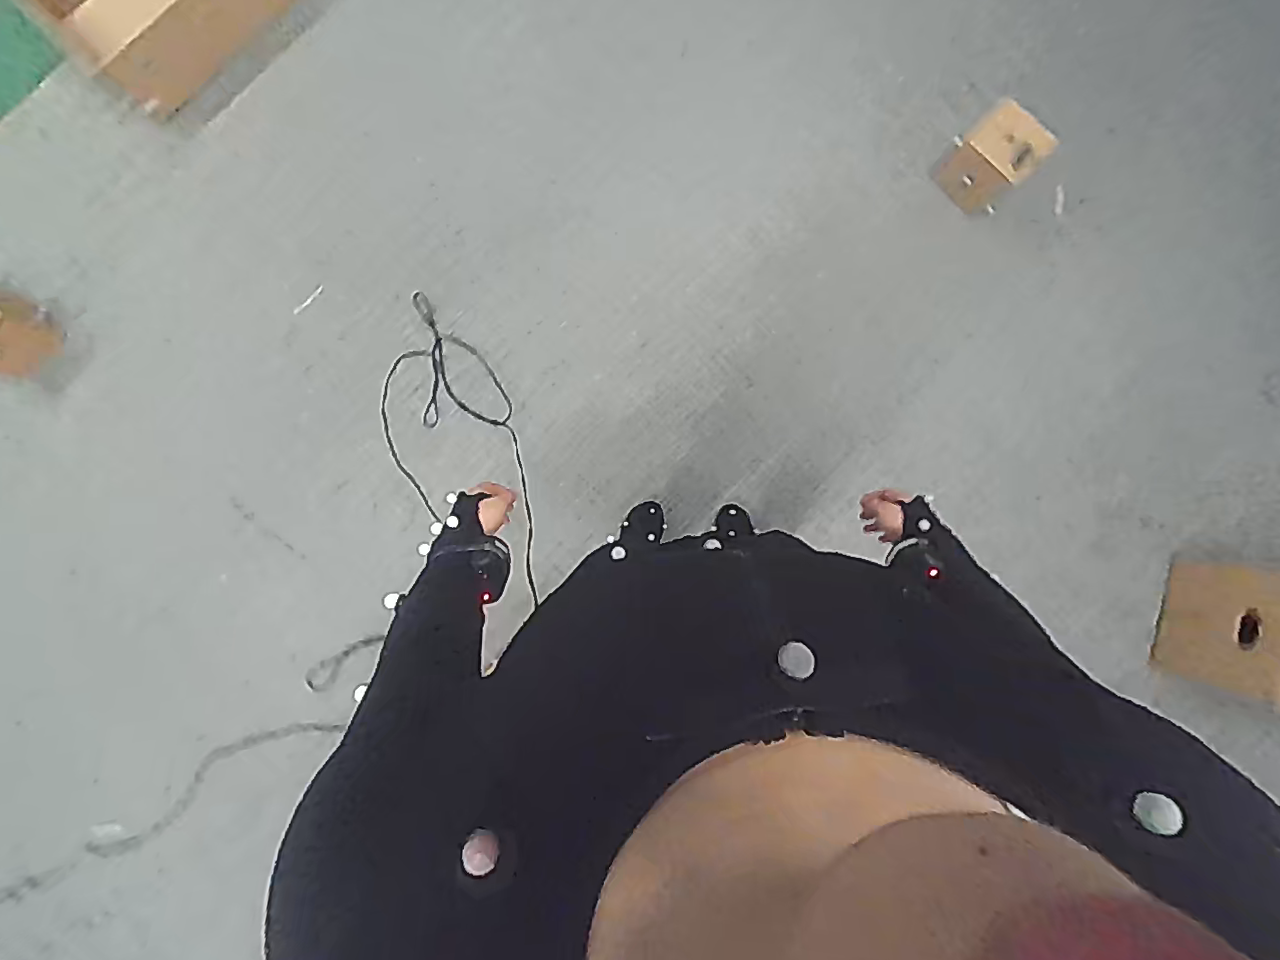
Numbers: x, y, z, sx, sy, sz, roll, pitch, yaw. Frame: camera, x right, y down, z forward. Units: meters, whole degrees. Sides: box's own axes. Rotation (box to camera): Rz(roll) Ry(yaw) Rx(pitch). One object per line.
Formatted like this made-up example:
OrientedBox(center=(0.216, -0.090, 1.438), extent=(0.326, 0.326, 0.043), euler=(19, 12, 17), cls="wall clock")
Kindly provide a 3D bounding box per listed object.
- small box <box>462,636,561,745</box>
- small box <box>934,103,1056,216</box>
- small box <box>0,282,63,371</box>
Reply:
OrientedBox(center=(-0.321, 0.532, 1.398), extent=(0.168, 0.176, 0.179), euler=(43, 87, 2), cls="small box")
OrientedBox(center=(0.948, -0.849, 1.460), extent=(0.168, 0.176, 0.179), euler=(-43, 88, -1), cls="small box")
OrientedBox(center=(-1.713, -0.414, 1.424), extent=(0.168, 0.176, 0.179), euler=(44, 87, 0), cls="small box")
